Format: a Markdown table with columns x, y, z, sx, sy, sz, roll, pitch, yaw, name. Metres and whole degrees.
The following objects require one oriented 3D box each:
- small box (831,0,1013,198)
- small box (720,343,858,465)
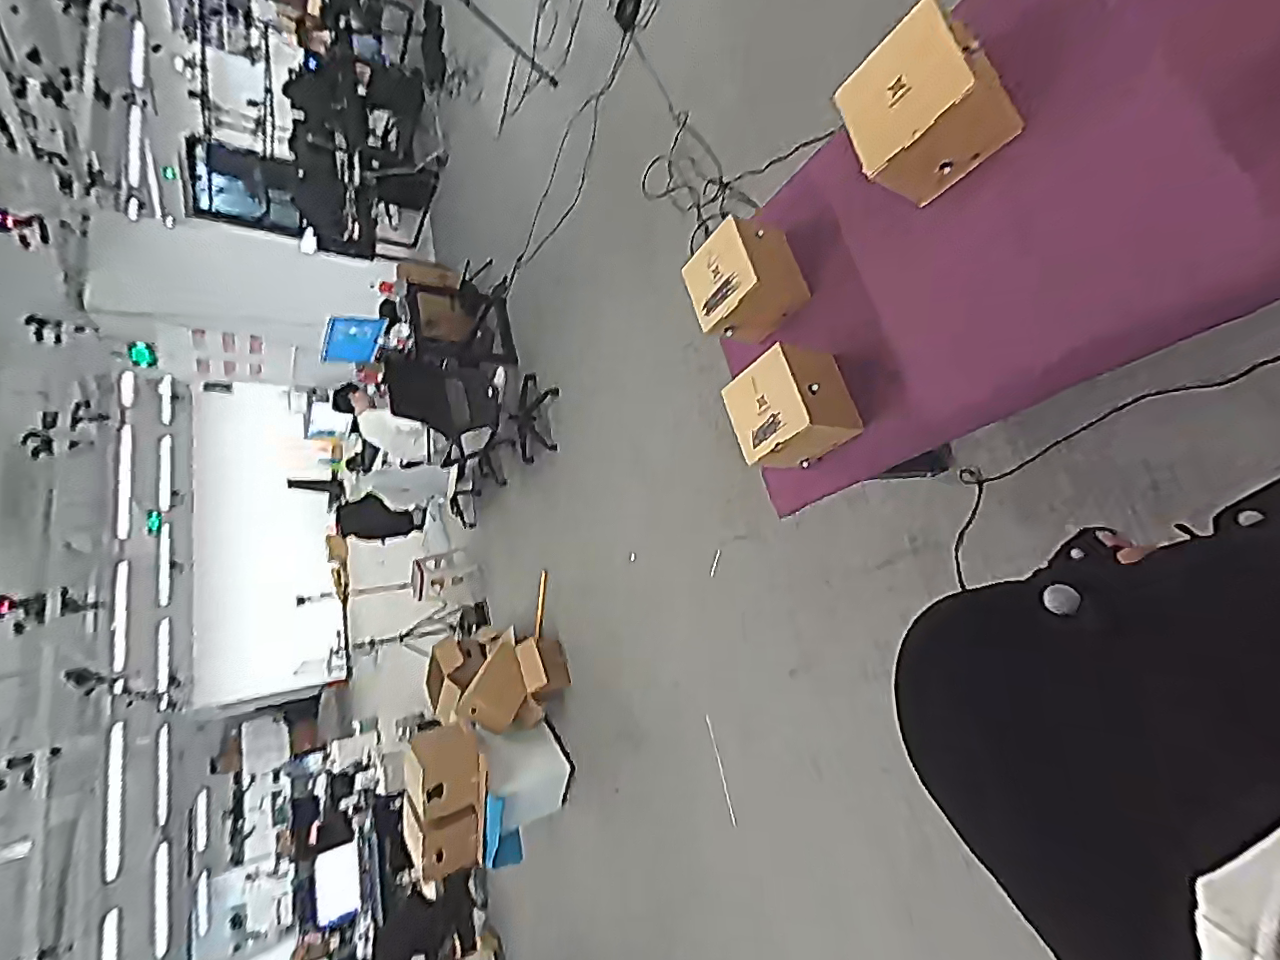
| x | y | z | sx | sy | sz | roll | pitch | yaw | name |
| --- | --- | --- | --- | --- | --- | --- | --- | --- | --- |
| 0.438 | -0.583 | 0.846 | 0.168 | 0.176 | 0.179 | -32 | 68 | 49 | small box |
| 0.292 | -0.142 | 1.061 | 0.168 | 0.176 | 0.179 | -39 | 60 | 47 | small box |
